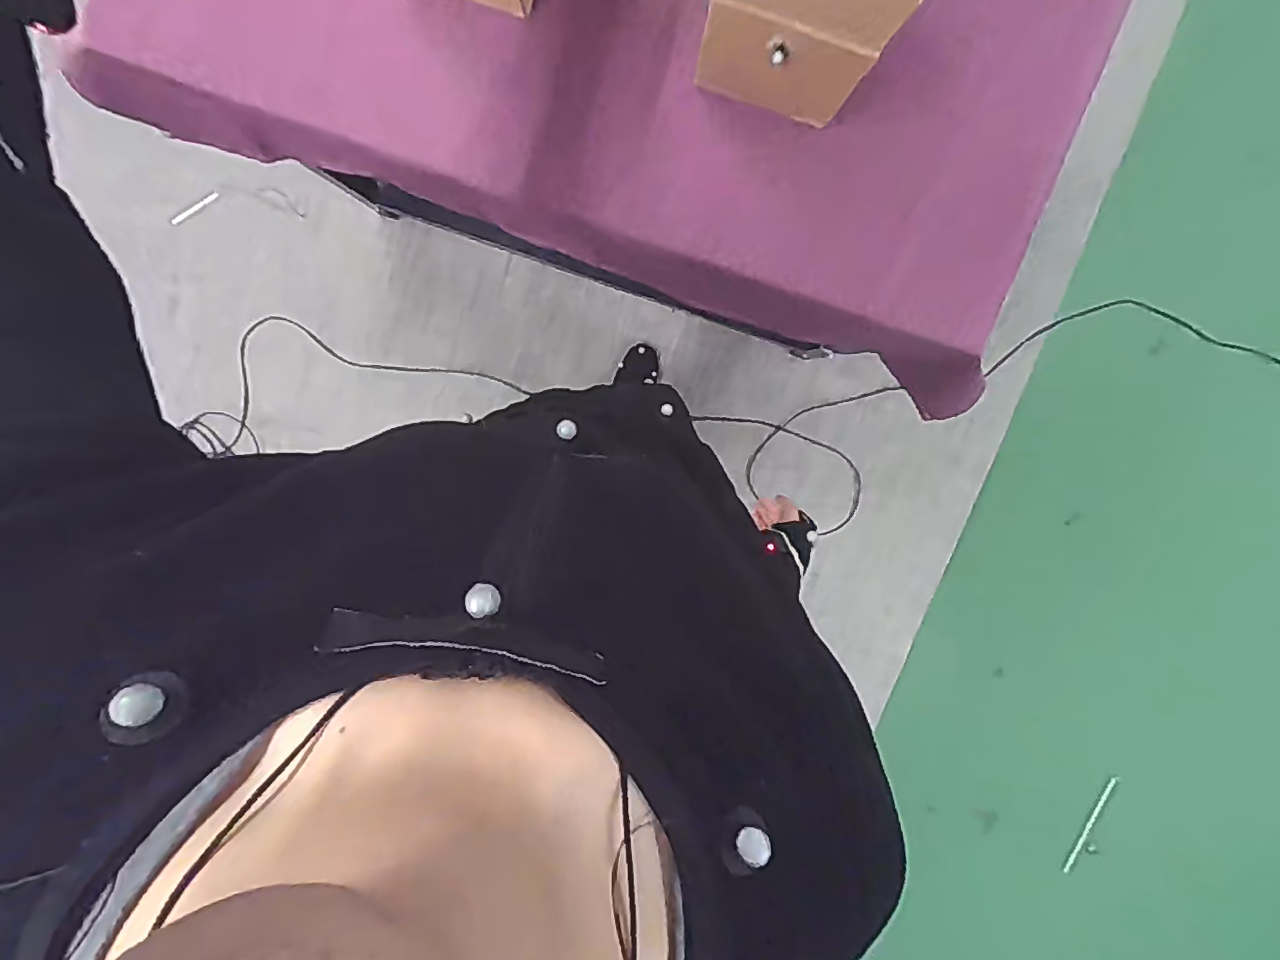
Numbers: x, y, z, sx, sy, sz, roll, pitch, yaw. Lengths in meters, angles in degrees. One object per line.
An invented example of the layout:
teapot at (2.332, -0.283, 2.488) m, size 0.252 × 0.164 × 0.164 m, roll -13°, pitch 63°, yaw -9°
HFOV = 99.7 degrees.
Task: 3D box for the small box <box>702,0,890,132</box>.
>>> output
small box at (0.179, -0.523, 0.594) m, size 0.179 × 0.176 × 0.168 m, roll 18°, pitch 100°, yaw -4°

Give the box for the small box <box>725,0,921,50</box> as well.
small box at (0.179, -0.496, 0.433) m, size 0.179 × 0.176 × 0.168 m, roll 17°, pitch 100°, yaw -2°
